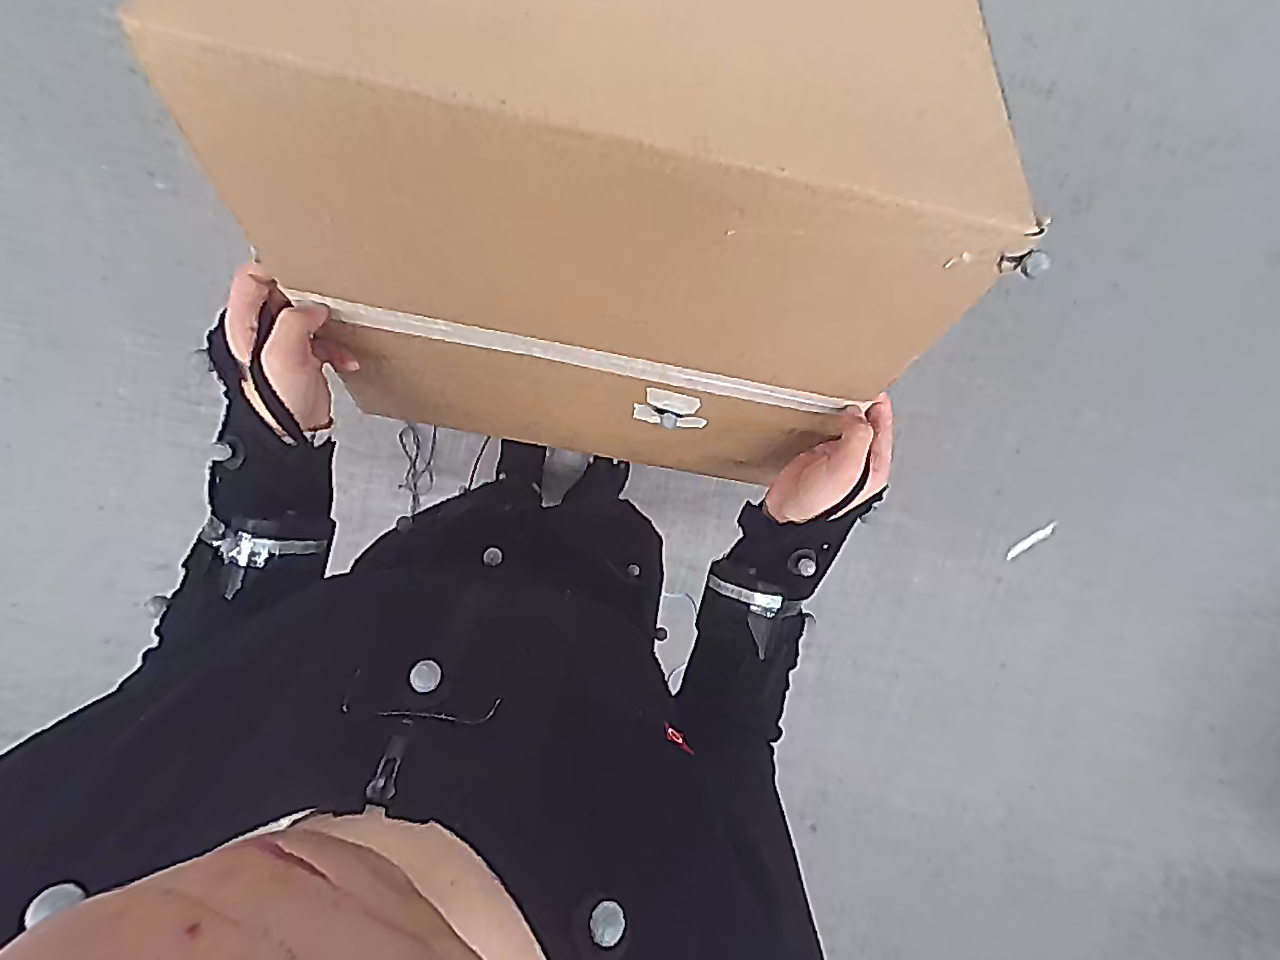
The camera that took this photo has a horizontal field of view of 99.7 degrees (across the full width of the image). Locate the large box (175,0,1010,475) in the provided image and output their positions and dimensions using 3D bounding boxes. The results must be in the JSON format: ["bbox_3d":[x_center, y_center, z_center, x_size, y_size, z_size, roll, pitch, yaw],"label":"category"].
[{"bbox_3d":[-0.017,-0.232,0.447,0.408,0.320,0.320,10,66,-5],"label":"large box"}]
